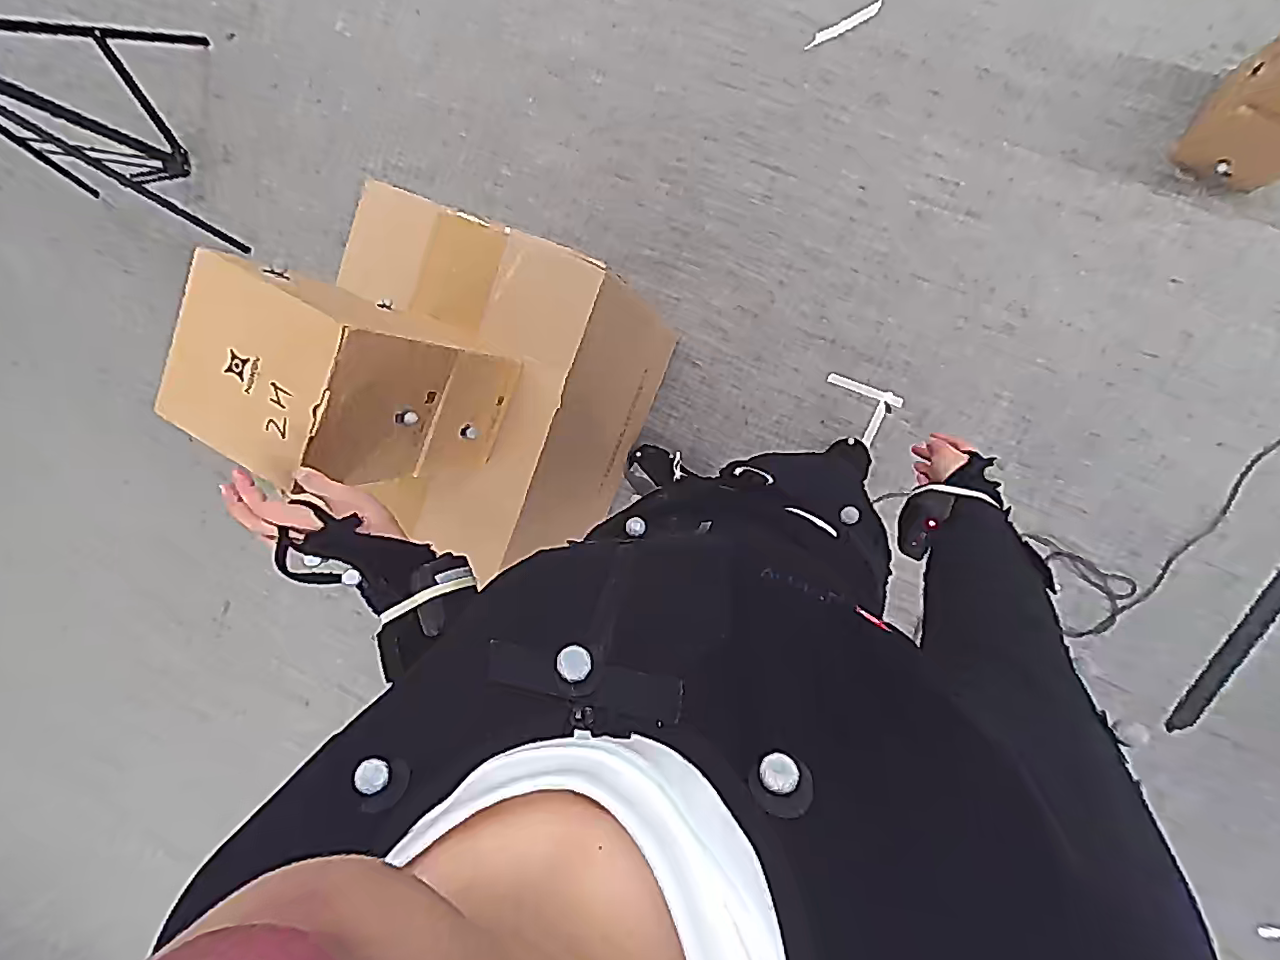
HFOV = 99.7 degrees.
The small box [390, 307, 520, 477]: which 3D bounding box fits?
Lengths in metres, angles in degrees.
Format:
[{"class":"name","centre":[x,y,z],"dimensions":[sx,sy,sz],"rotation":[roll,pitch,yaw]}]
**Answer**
[{"class":"small box","centre":[-0.285,-0.120,0.710],"dimensions":[0.179,0.176,0.168],"rotation":[26,101,10]}]

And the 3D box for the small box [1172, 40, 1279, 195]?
[{"class":"small box","centre":[1.138,-0.657,0.970],"dimensions":[0.168,0.176,0.179],"rotation":[33,103,9]}]

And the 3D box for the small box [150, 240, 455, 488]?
[{"class":"small box","centre":[-0.328,-0.109,0.551],"dimensions":[0.179,0.176,0.168],"rotation":[28,102,9]}]
